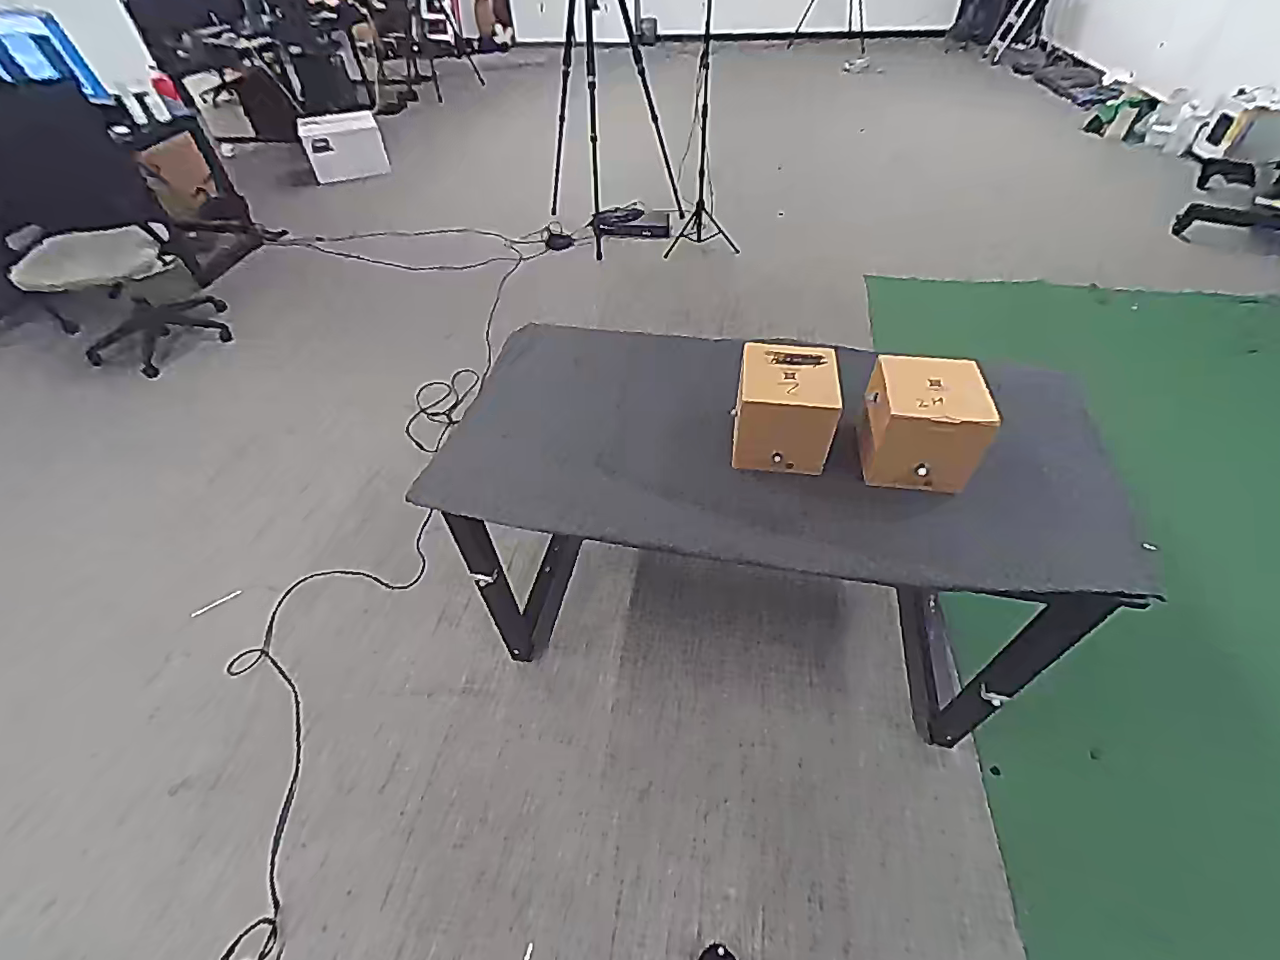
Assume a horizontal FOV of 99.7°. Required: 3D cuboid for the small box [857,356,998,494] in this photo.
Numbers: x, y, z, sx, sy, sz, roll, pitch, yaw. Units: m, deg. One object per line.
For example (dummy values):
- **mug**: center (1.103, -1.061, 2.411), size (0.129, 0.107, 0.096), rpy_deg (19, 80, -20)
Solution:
- **small box**: center (0.502, -0.100, 0.976), size (0.168, 0.176, 0.179), rpy_deg (6, 47, 9)
